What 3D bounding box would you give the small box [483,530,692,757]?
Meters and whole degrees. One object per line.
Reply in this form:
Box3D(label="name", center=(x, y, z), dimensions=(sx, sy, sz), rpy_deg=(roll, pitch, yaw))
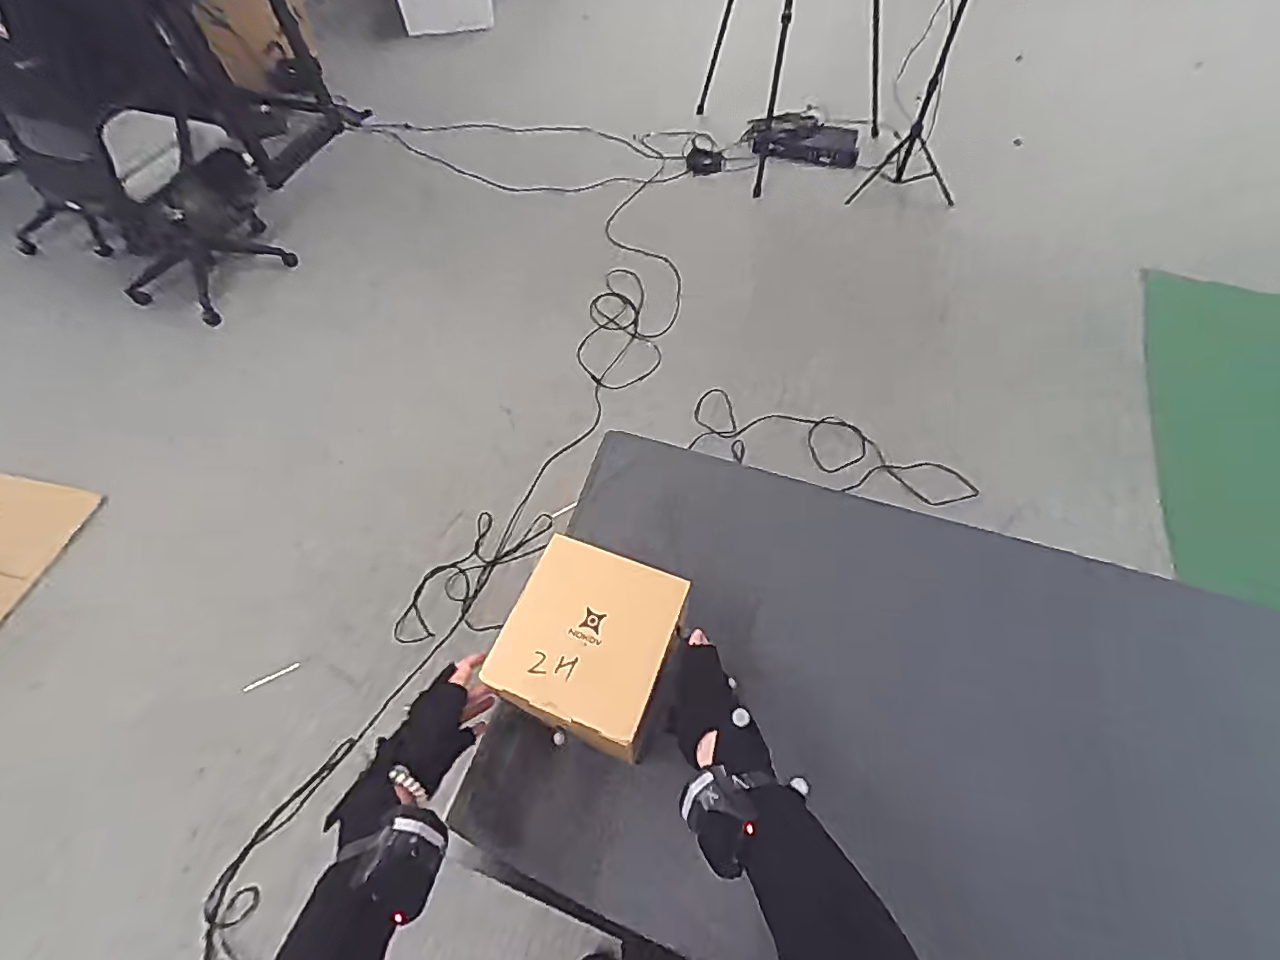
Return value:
Box3D(label="small box", center=(-0.049, 0.191, 0.622), dimensions=(0.168, 0.176, 0.179), rpy_deg=(17, 59, 13))
